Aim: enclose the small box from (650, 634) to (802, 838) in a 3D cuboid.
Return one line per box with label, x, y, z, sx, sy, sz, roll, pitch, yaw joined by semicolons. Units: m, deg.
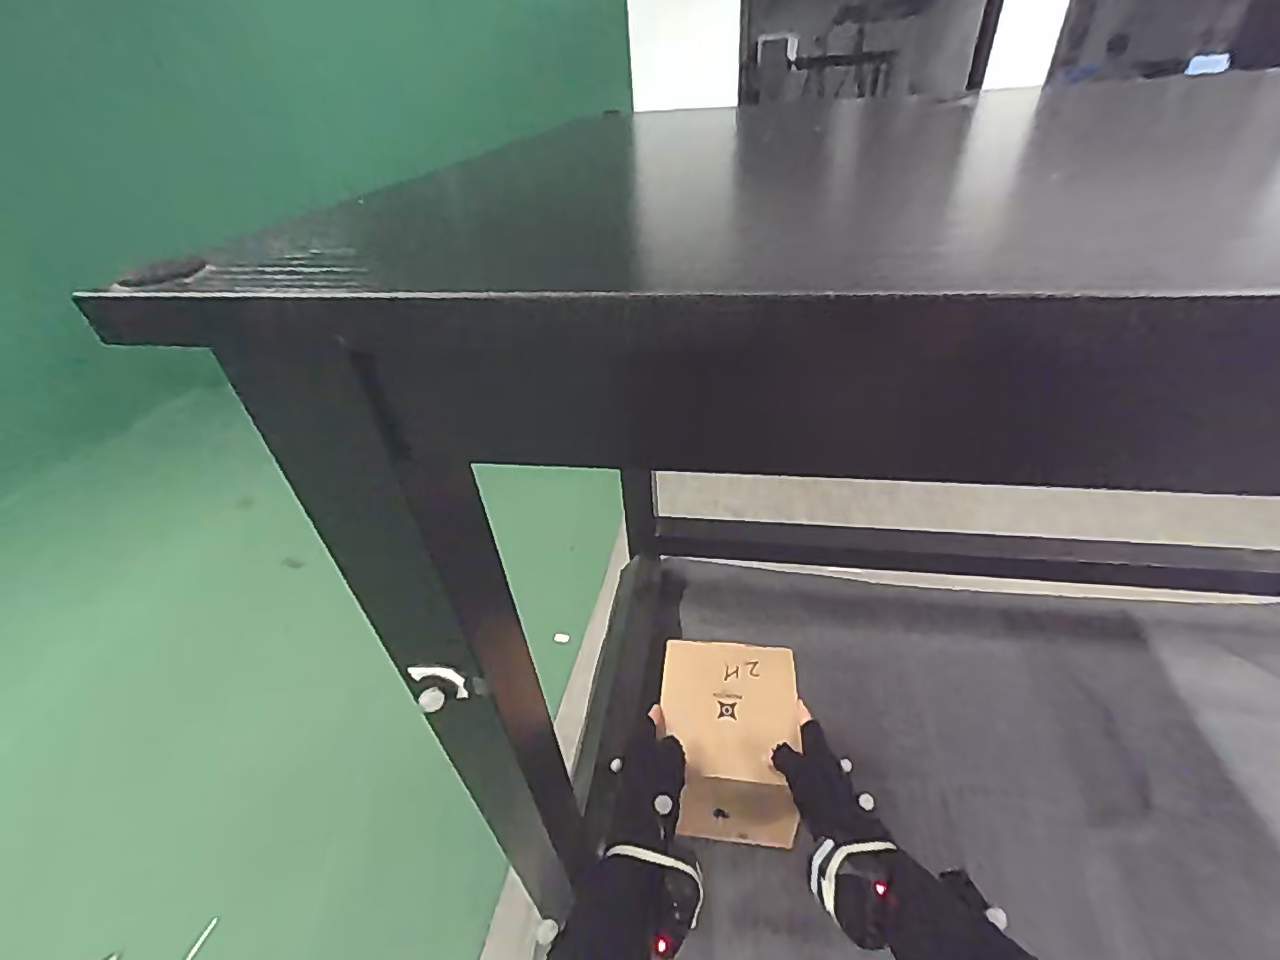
small box;0.109;0.324;0.688;0.168;0.176;0.179;2;38;9
